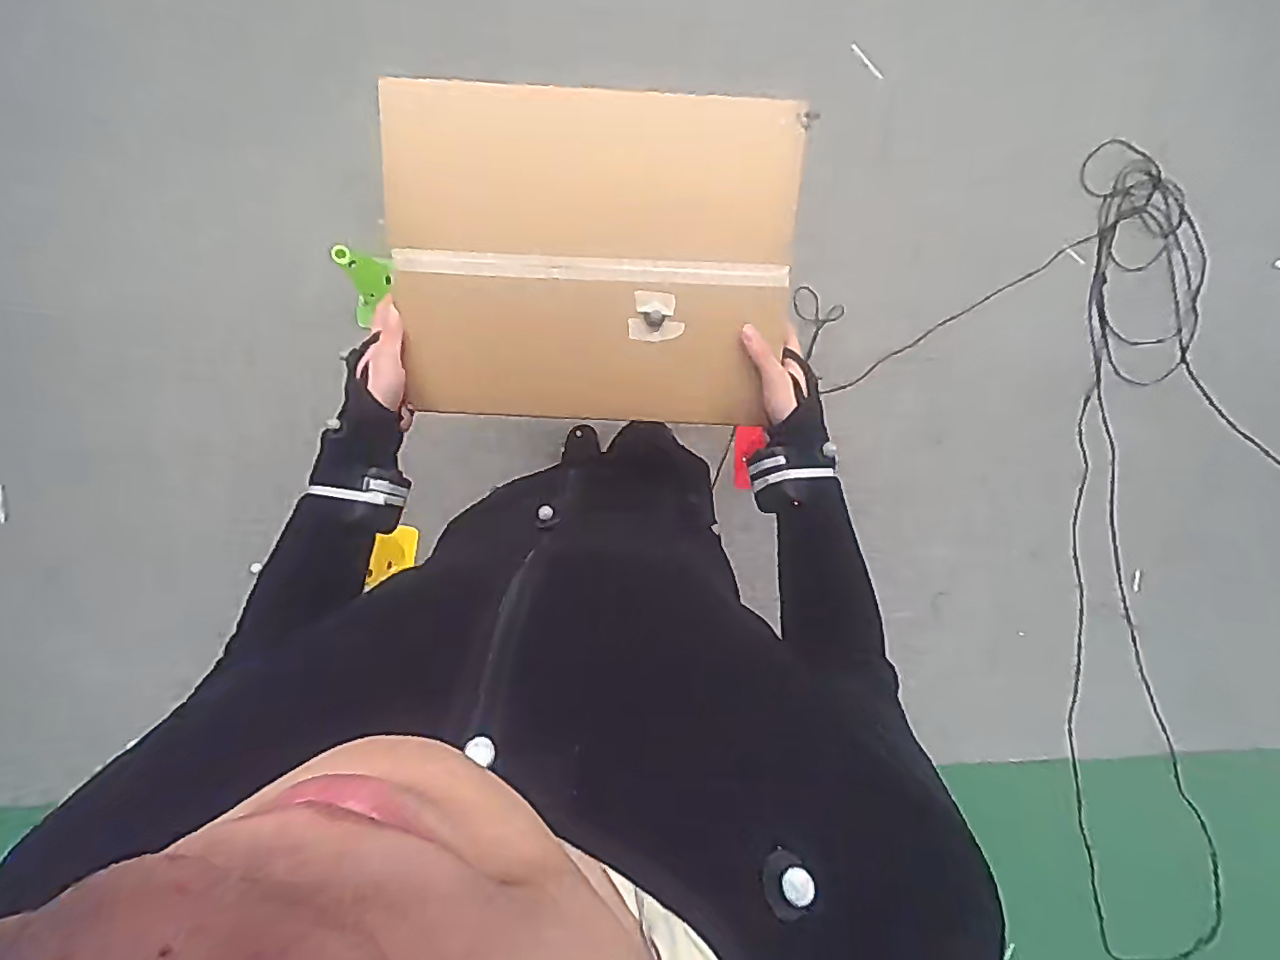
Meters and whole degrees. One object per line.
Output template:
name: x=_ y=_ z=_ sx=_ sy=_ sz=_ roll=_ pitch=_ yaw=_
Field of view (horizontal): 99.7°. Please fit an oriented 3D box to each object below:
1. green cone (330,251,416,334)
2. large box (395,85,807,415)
green cone: x=-0.684 y=-0.510 z=1.370 sx=0.200 sy=0.368 sz=0.202 roll=6 pitch=95 yaw=-5
large box: x=-0.044 y=-0.265 z=0.702 sx=0.408 sy=0.320 sz=0.320 roll=2 pitch=108 yaw=-2
